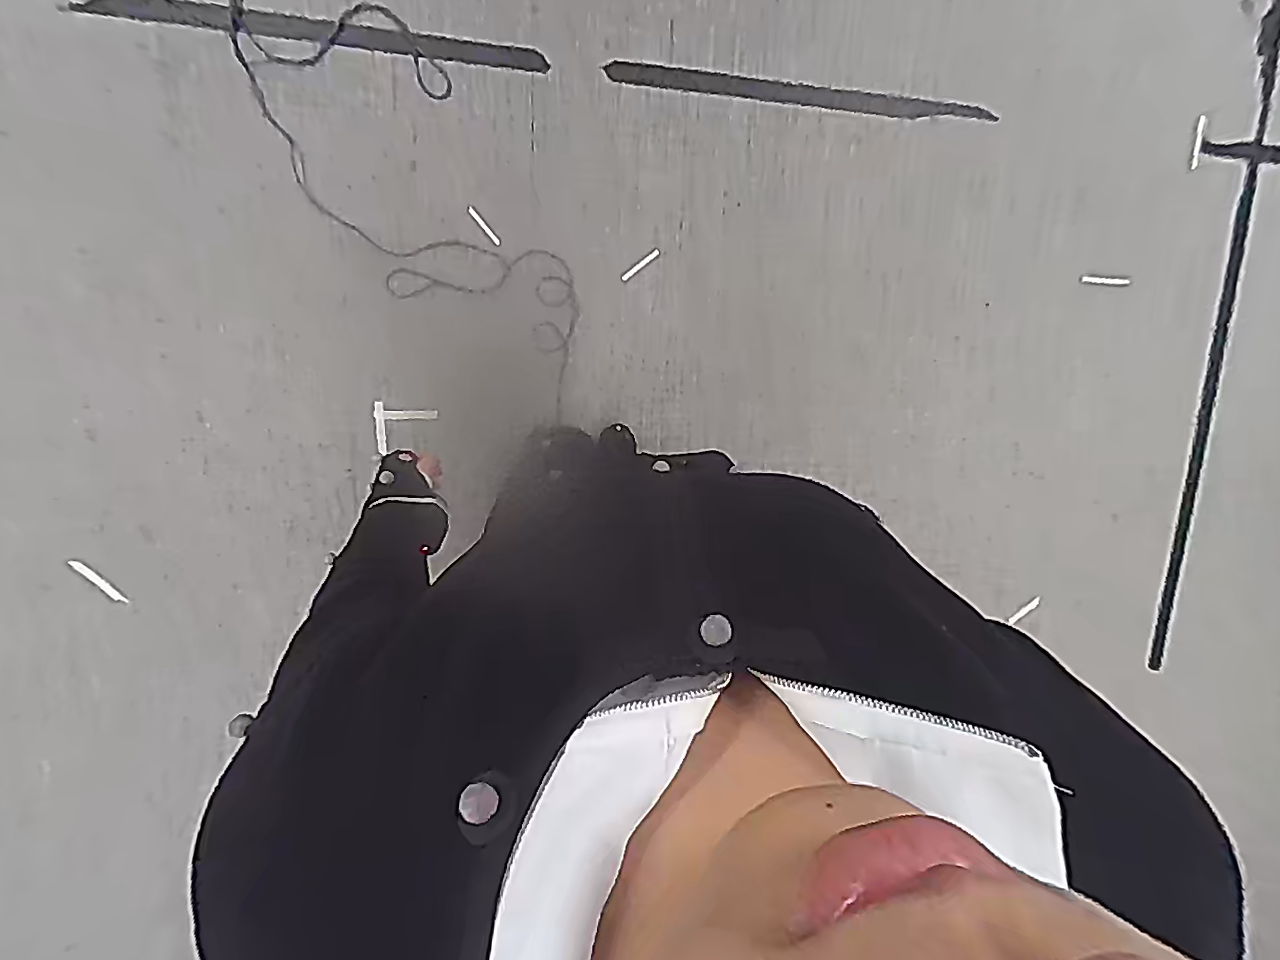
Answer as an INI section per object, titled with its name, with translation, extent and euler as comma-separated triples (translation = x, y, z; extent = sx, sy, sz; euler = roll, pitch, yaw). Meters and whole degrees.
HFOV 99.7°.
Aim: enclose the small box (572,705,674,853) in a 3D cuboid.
[small box]
translation = -0.038, 0.541, 0.998
extent = 0.168, 0.176, 0.179
euler = 1, 96, -9
